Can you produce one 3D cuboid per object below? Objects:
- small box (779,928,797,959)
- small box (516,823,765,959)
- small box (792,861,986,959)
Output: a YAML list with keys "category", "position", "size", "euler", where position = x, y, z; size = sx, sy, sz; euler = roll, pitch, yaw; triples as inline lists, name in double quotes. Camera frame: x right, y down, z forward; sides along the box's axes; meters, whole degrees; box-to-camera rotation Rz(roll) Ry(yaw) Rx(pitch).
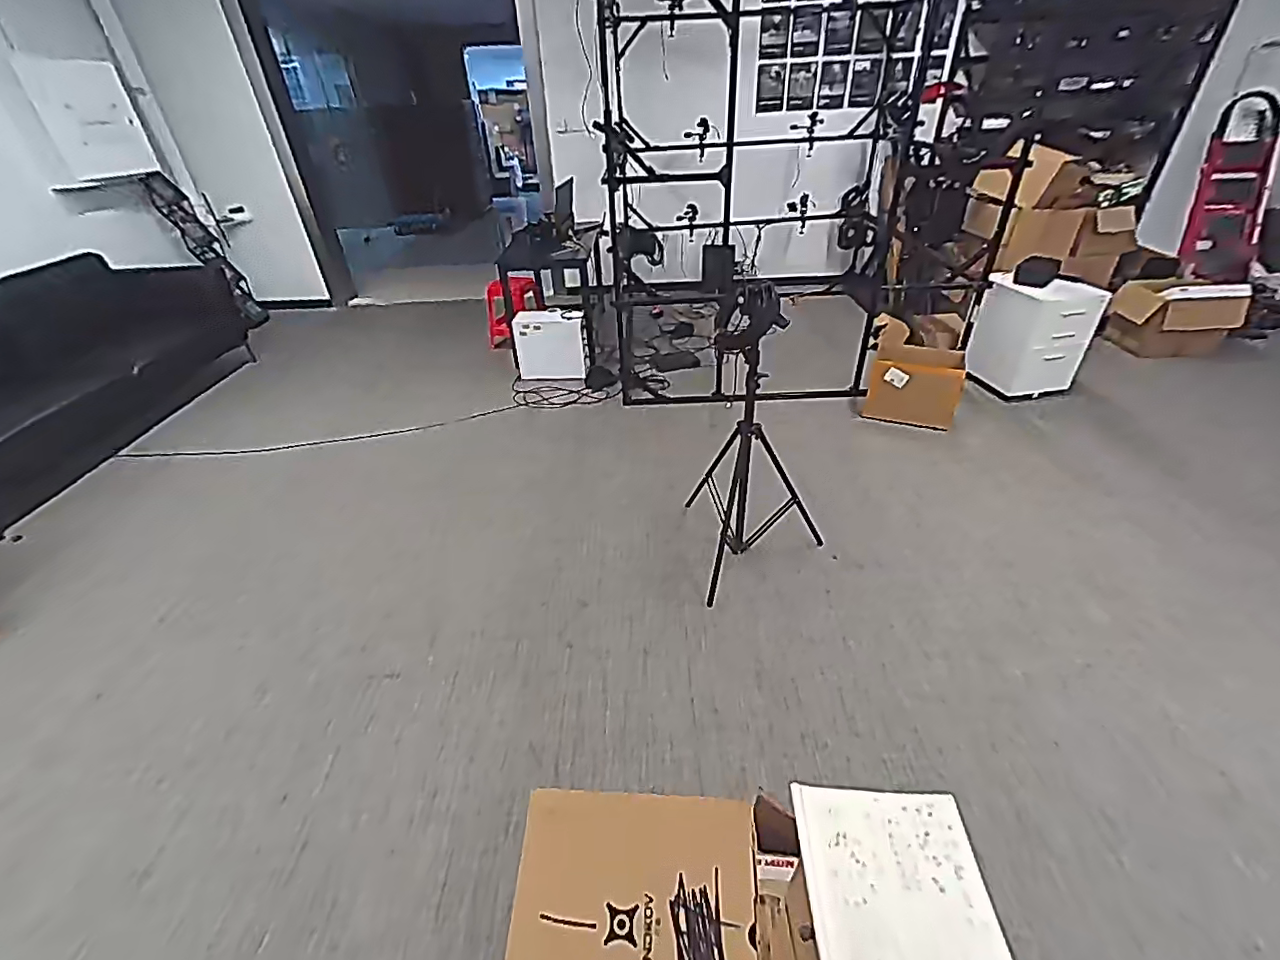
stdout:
- category: "small box"
  position: [0.284, 0.707, 0.704]
  size: [0.179, 0.176, 0.168]
  euler: [-2, 36, -1]
- category: "small box"
  position: [0.002, 0.388, 0.435]
  size: [0.179, 0.176, 0.168]
  euler: [1, 51, 4]
- category: "small box"
  position: [0.281, 0.569, 0.615]
  size: [0.168, 0.176, 0.179]
  euler: [0, 36, 1]
